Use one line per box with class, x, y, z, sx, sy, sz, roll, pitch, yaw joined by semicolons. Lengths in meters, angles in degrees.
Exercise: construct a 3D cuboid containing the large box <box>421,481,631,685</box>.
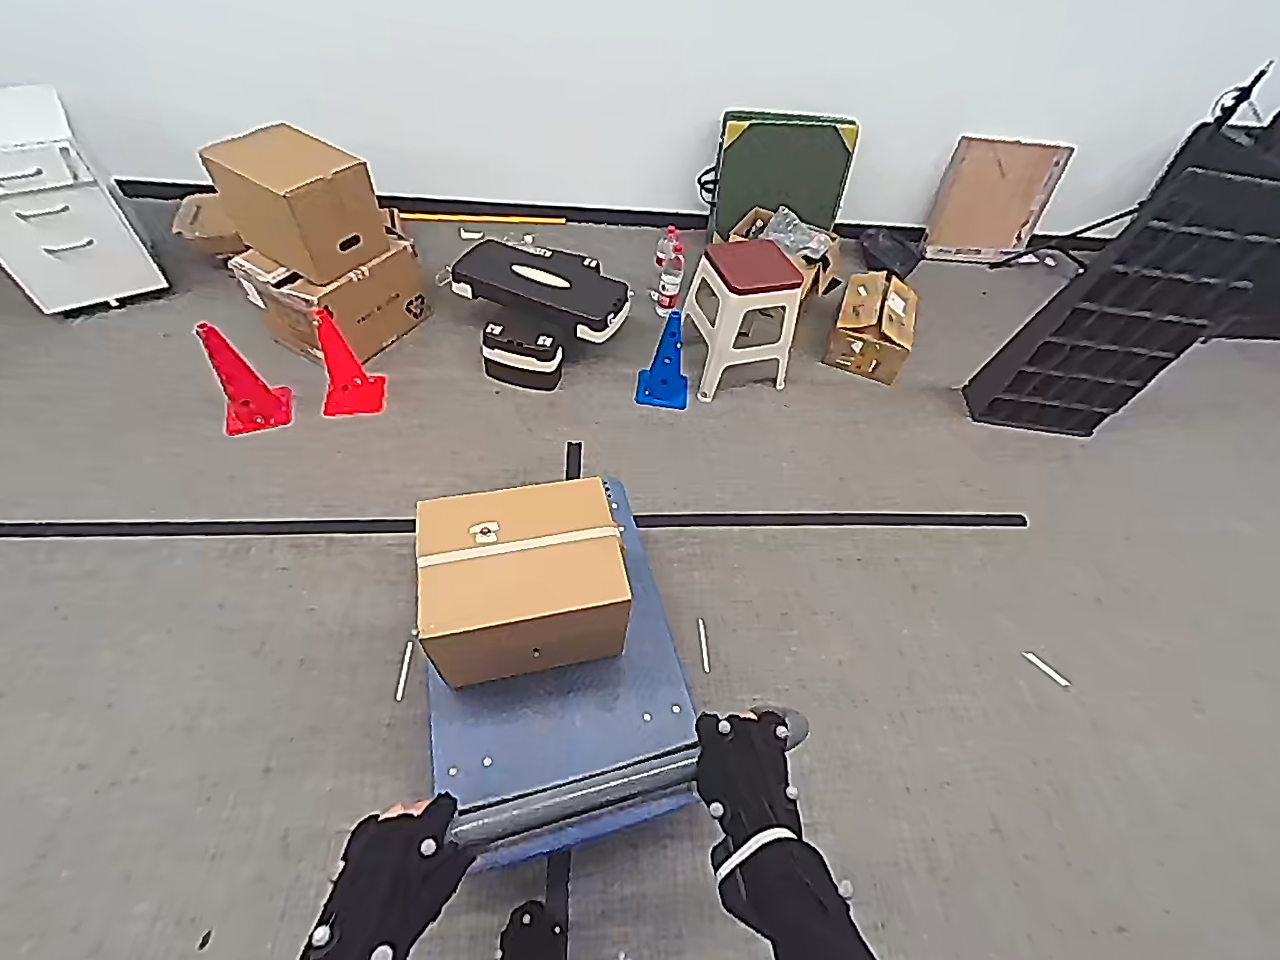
large box;-0.256;0.238;1.245;0.408;0.320;0.320;-8;54;-12
